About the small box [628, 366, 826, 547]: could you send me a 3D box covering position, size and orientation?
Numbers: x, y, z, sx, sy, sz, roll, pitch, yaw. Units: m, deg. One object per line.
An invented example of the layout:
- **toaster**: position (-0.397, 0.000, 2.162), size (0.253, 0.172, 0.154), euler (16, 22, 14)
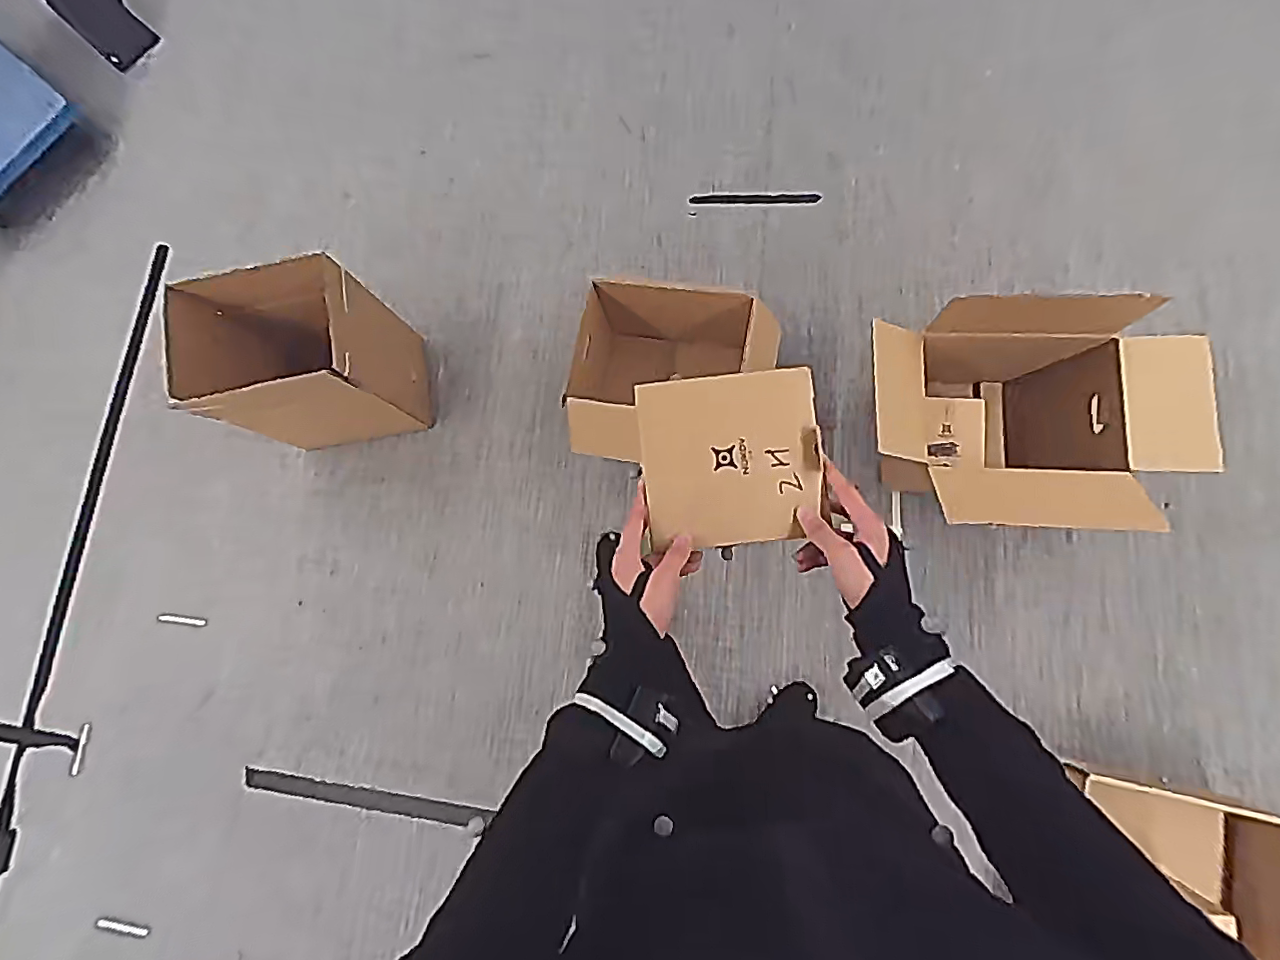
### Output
- **small box**: position (0.084, -0.015, 0.600), size (0.179, 0.176, 0.168), euler (-6, 85, 0)
